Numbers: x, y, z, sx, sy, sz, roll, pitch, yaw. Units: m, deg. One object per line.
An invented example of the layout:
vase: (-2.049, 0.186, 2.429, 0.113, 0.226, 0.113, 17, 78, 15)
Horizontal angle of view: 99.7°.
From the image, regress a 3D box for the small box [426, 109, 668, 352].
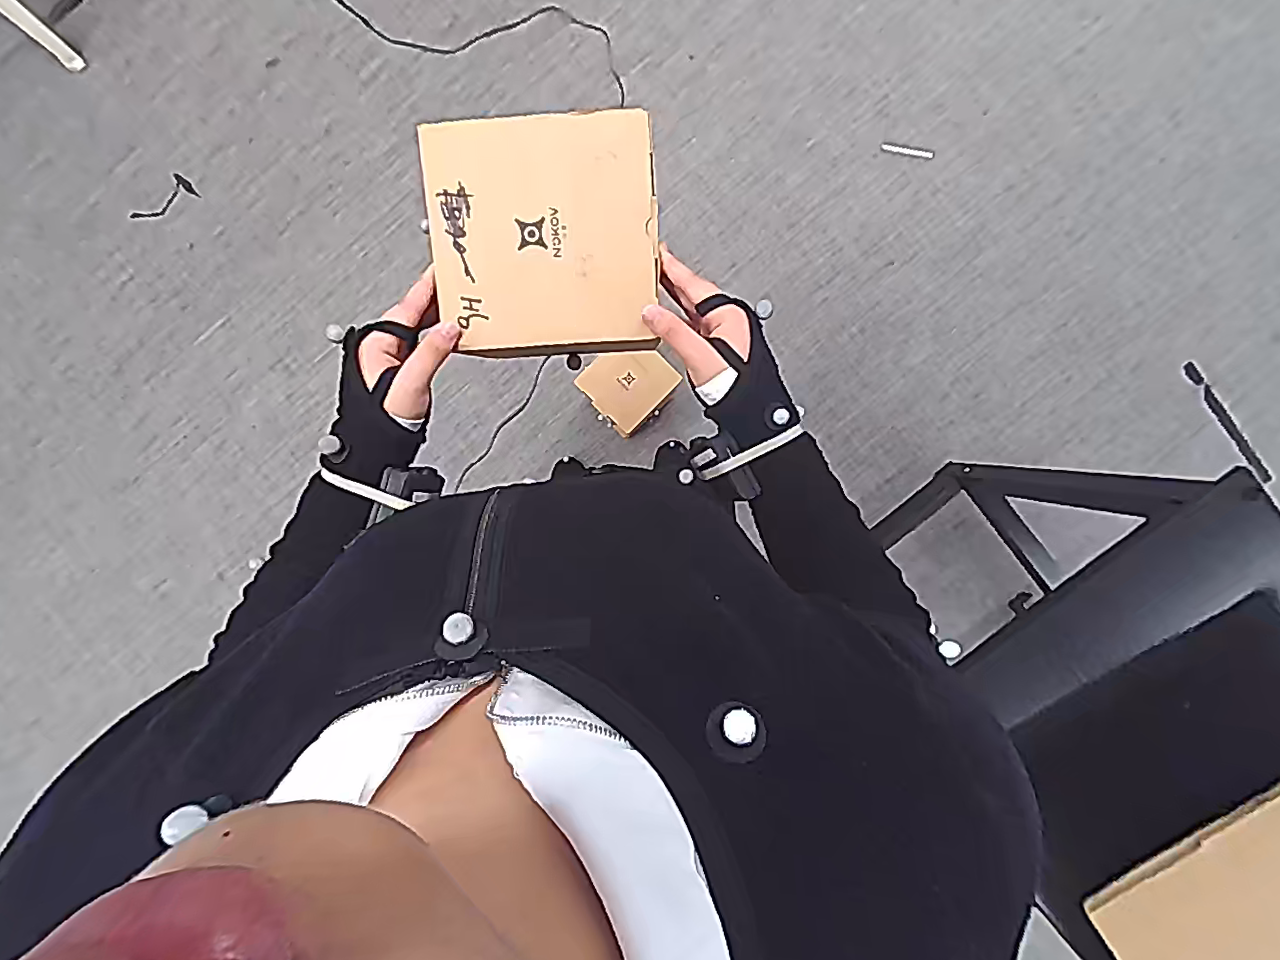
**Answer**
small box: (-0.071, -0.208, 0.496, 0.179, 0.176, 0.168, -4, 101, 0)

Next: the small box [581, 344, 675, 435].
small box: (-0.030, -0.234, 1.404, 0.179, 0.176, 0.168, -43, 93, 4)
